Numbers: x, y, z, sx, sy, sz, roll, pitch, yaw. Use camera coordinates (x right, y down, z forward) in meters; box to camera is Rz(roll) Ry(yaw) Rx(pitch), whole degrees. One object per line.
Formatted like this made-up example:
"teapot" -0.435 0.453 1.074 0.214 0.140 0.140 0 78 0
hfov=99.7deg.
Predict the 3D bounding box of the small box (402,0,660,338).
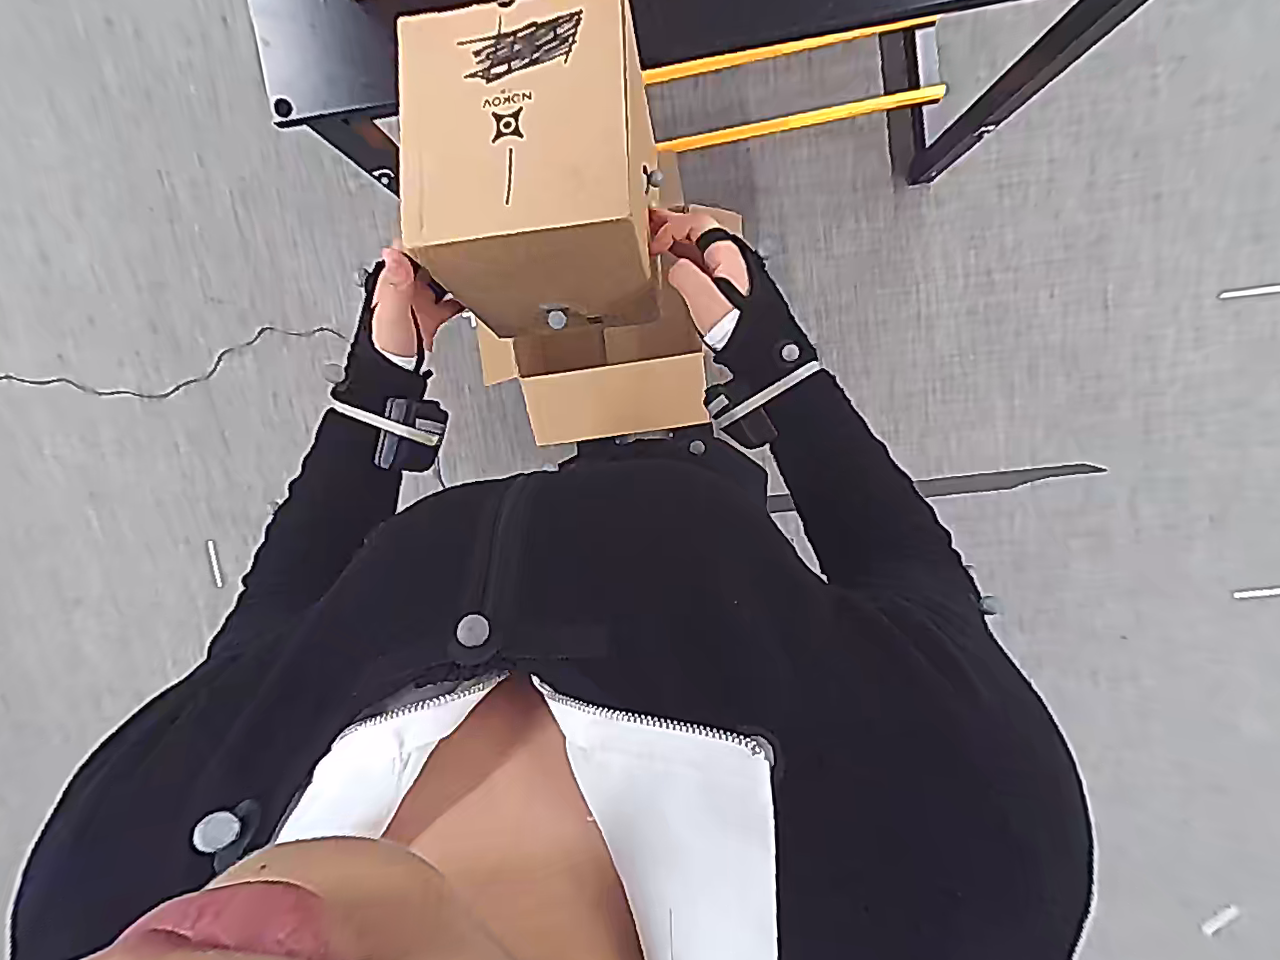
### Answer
"small box" -0.076 -0.240 0.458 0.168 0.176 0.179 -4 82 9
